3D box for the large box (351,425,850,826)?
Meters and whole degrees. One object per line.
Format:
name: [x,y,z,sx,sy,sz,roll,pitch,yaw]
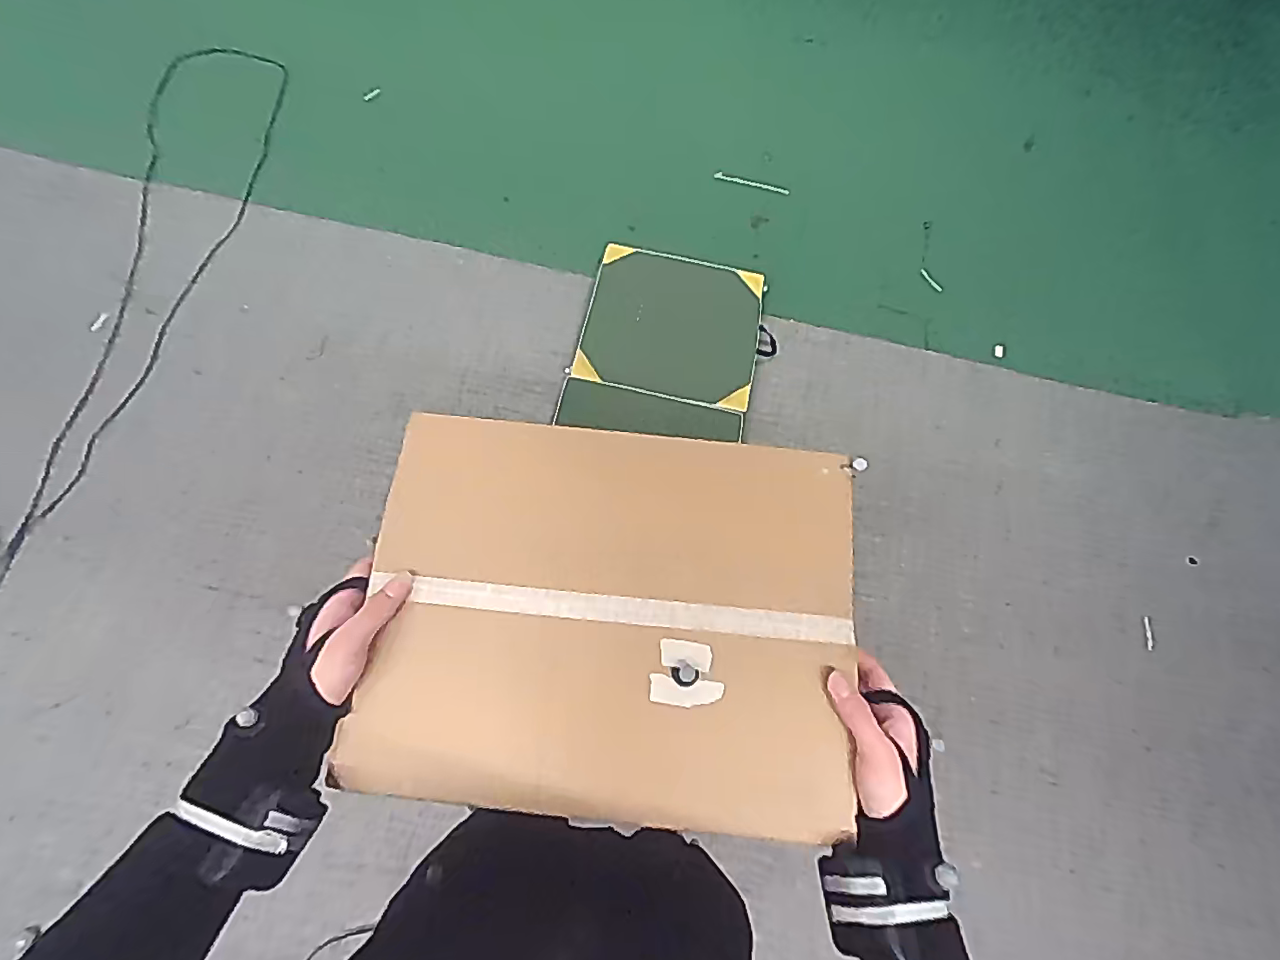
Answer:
large box: [-0.023,0.154,0.610,0.408,0.320,0.320,6,73,1]
